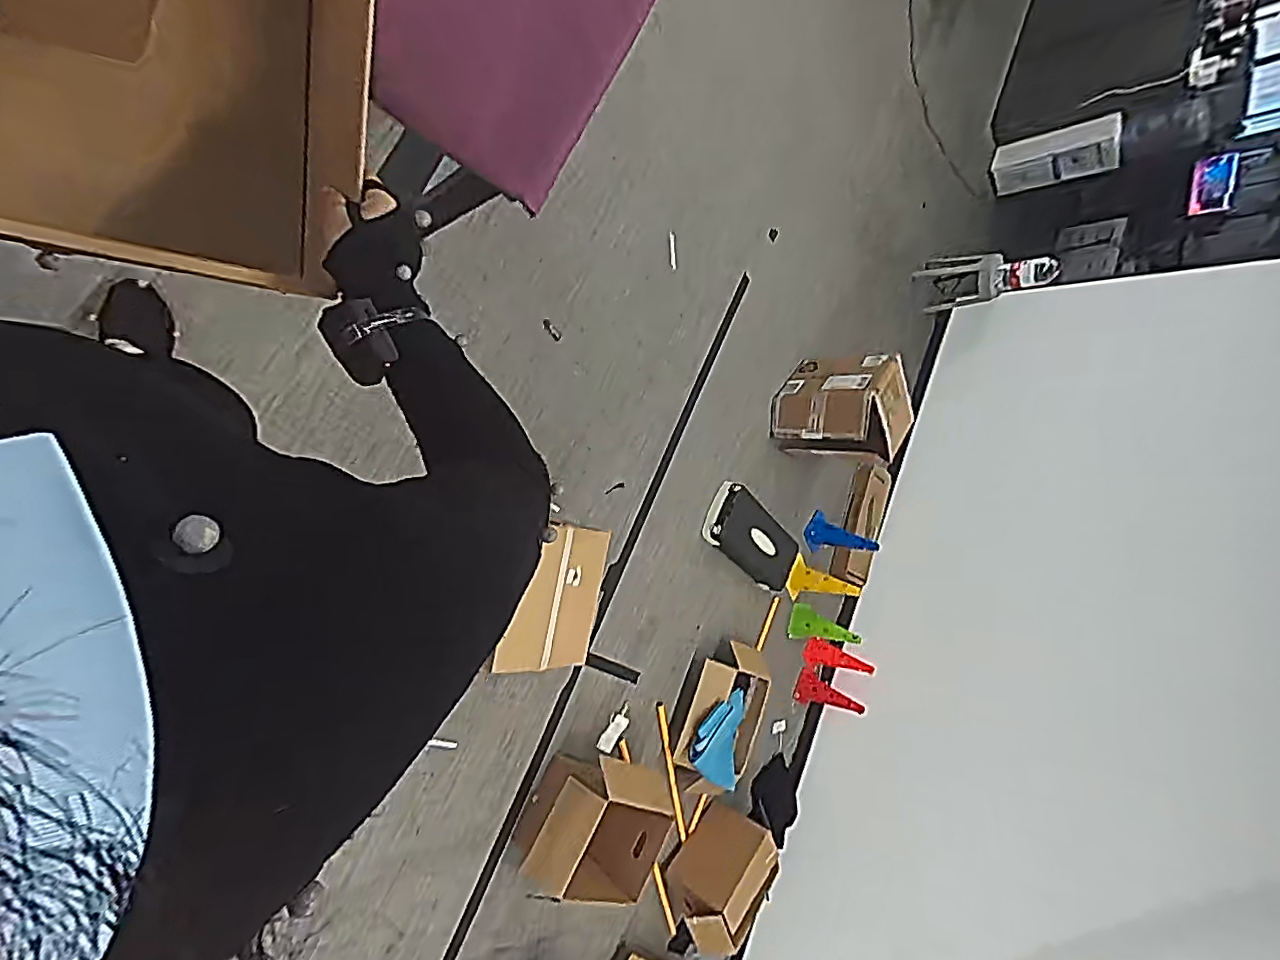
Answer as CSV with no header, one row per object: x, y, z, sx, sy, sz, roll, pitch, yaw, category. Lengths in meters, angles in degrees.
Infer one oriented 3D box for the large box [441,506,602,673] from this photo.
-0.355,0.309,1.600,0.320,0.320,0.408,12,87,-45,large box
